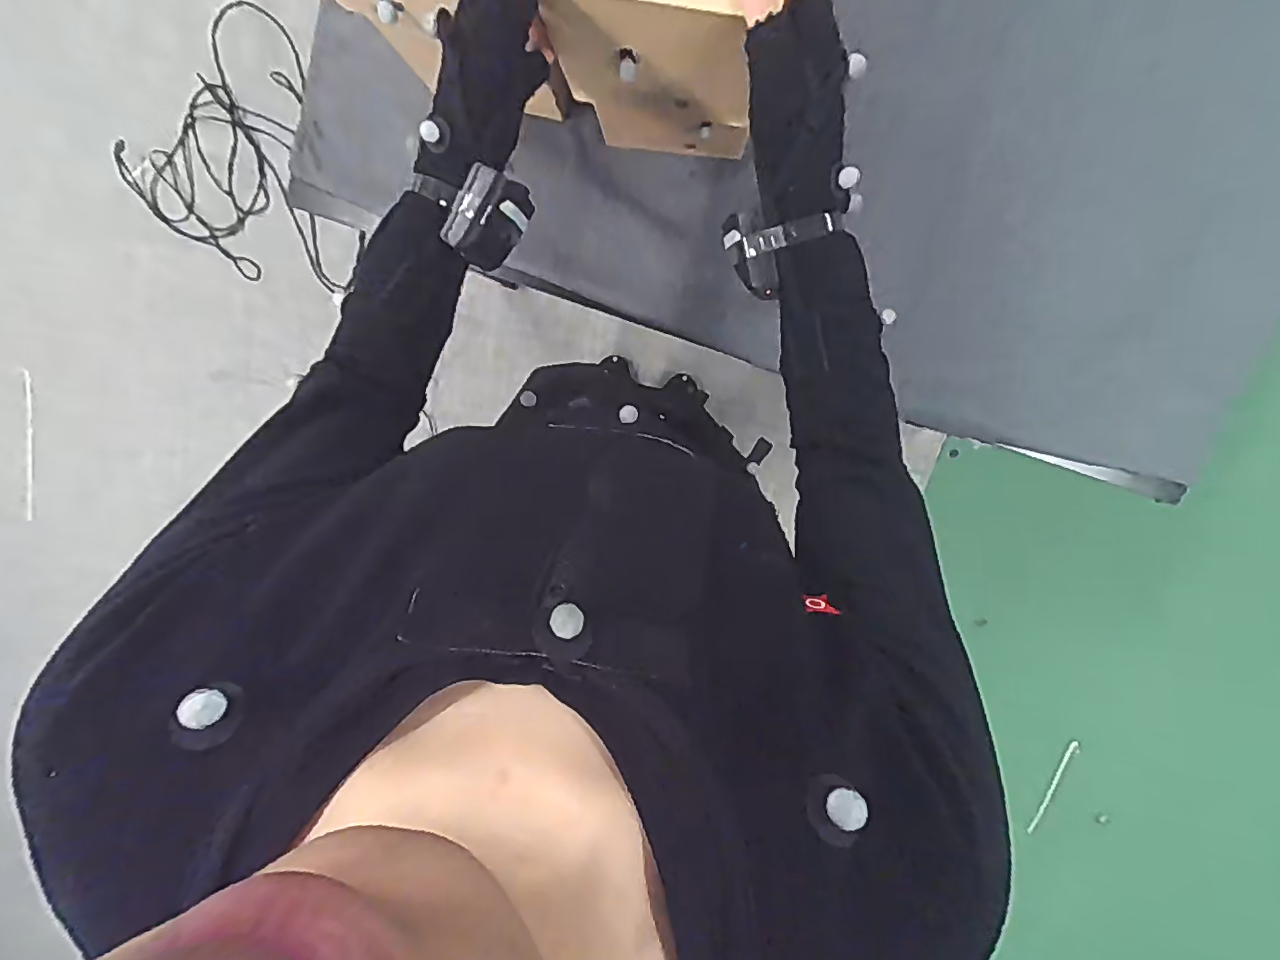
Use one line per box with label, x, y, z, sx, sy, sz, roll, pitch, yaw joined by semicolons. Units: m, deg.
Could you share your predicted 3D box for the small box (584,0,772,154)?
small box;0.044;-0.462;0.554;0.168;0.176;0.179;8;102;2
